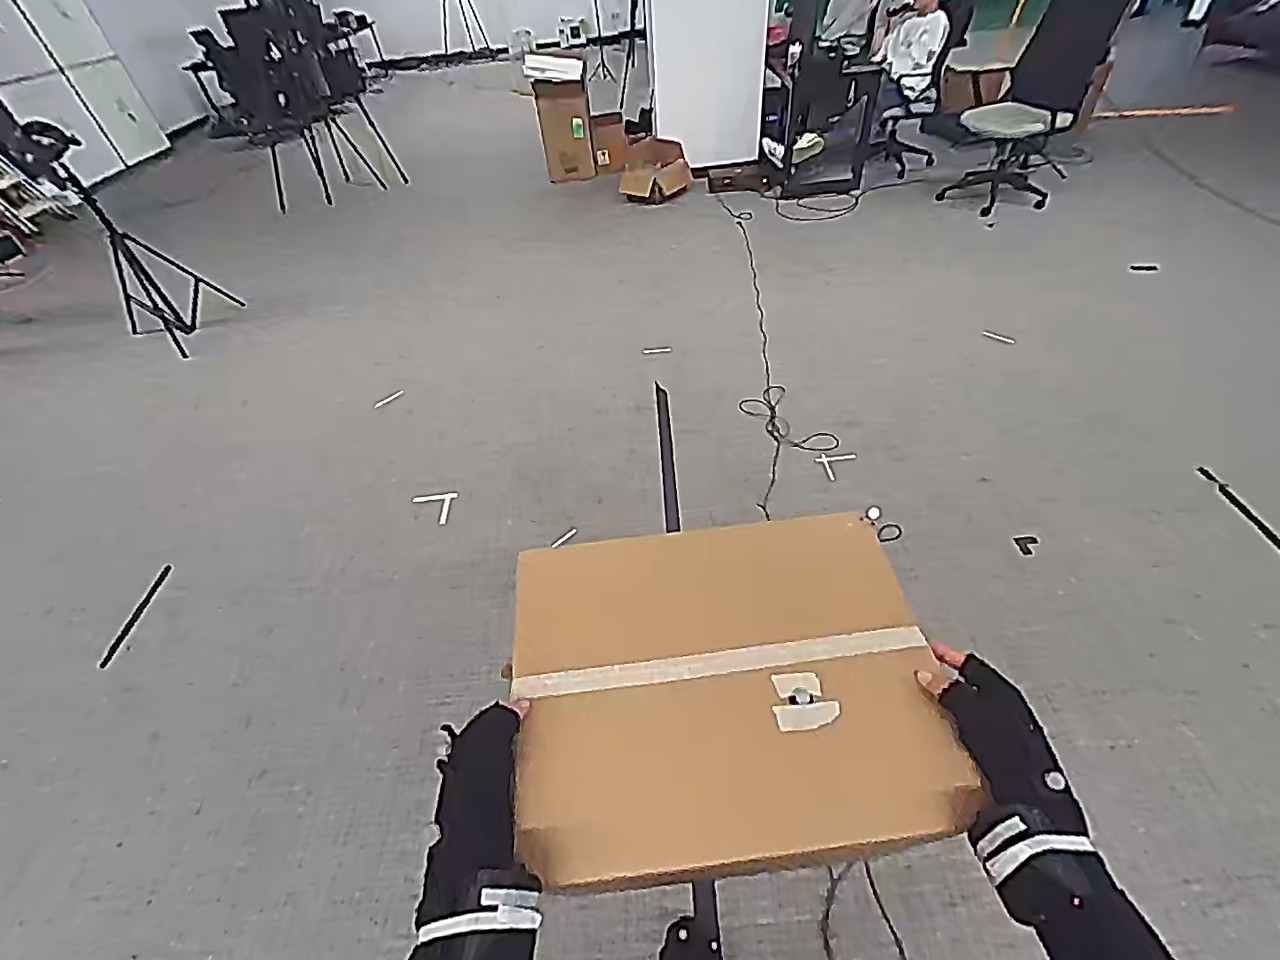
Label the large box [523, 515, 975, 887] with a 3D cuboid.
[{"bbox_3d":[0.084,0.278,0.667,0.408,0.320,0.320,-7,52,-2],"label":"large box"}]
